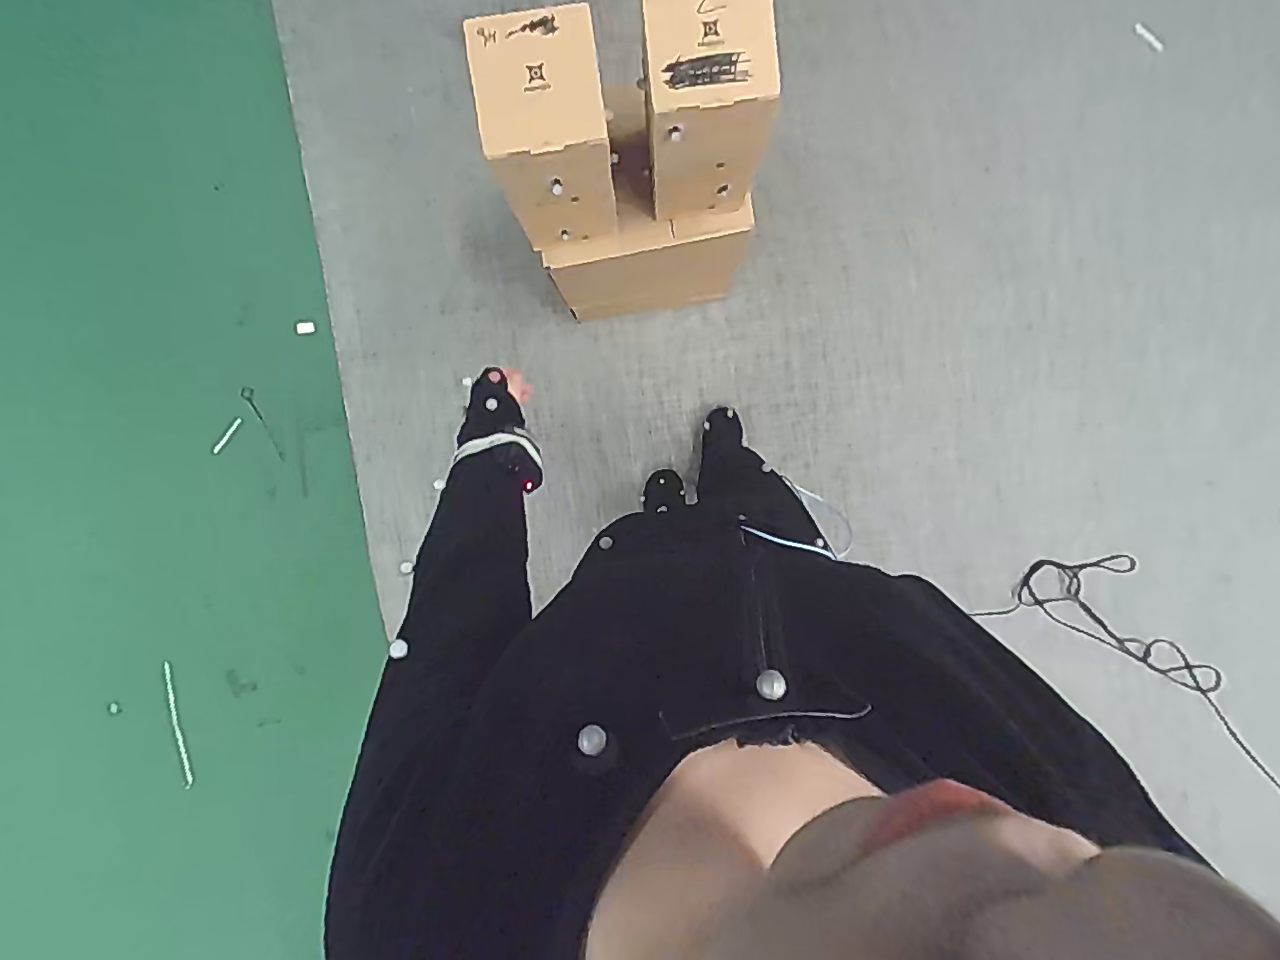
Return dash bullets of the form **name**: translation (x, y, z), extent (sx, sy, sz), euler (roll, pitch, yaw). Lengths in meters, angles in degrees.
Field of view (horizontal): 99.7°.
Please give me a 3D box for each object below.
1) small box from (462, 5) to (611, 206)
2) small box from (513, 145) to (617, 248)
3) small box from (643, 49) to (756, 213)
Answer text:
- **small box**: translation (-0.135, -0.514, 0.773), extent (0.168, 0.176, 0.179), euler (-8, 94, 0)
- **small box**: translation (-0.134, -0.530, 0.936), extent (0.168, 0.176, 0.179), euler (-9, 94, 1)
- **small box**: translation (0.098, -0.580, 0.927), extent (0.168, 0.176, 0.179), euler (-6, 92, 2)
